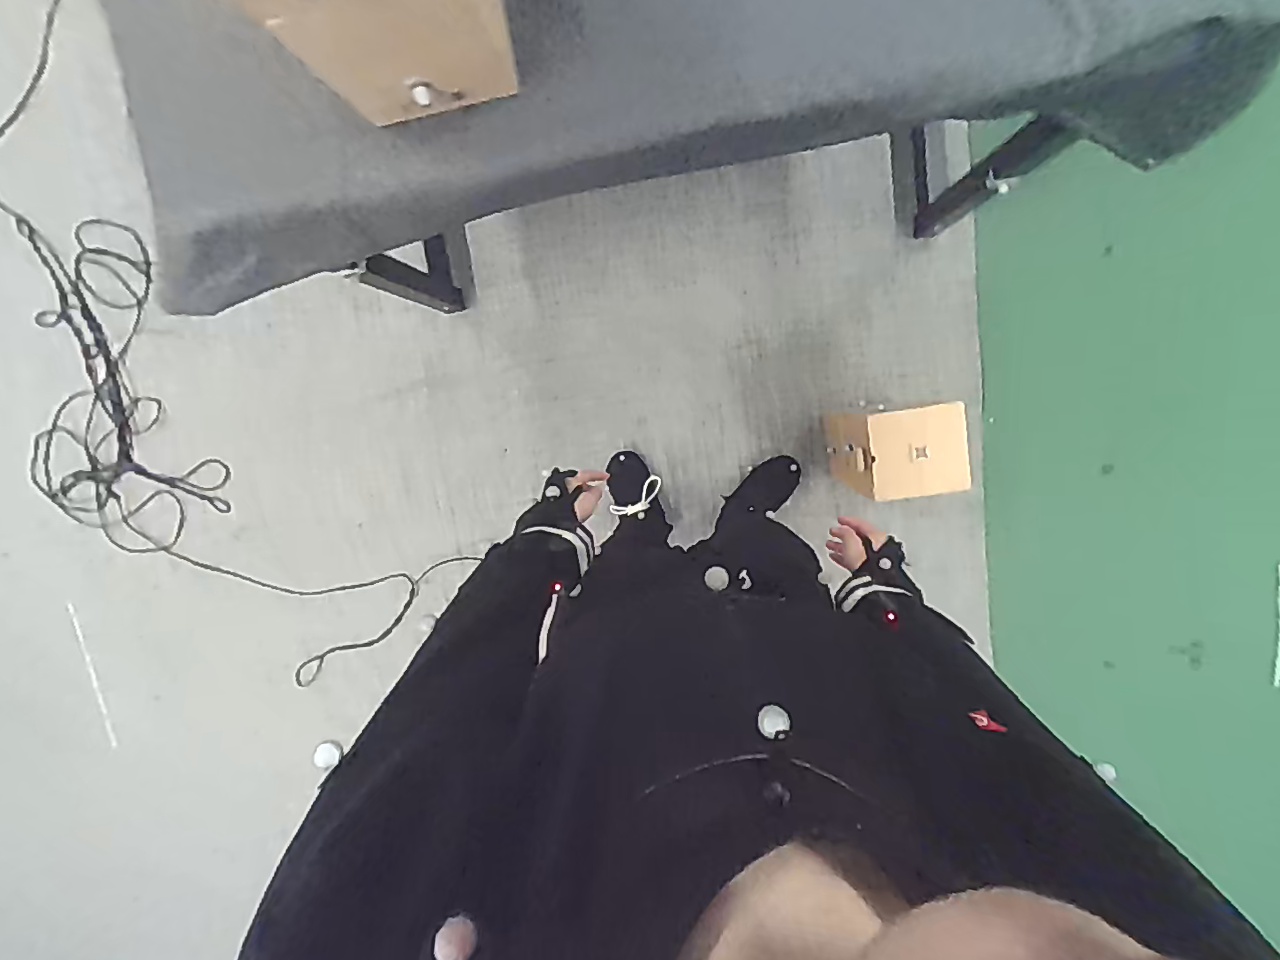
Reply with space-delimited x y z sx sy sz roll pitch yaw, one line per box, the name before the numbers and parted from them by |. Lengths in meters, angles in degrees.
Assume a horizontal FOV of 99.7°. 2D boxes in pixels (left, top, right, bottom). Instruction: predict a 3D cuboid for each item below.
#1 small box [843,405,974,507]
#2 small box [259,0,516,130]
small box | 0.517 -0.054 1.060 0.179 0.176 0.168 -9 97 6
small box | -0.228 -0.466 0.495 0.168 0.176 0.179 -9 97 6
